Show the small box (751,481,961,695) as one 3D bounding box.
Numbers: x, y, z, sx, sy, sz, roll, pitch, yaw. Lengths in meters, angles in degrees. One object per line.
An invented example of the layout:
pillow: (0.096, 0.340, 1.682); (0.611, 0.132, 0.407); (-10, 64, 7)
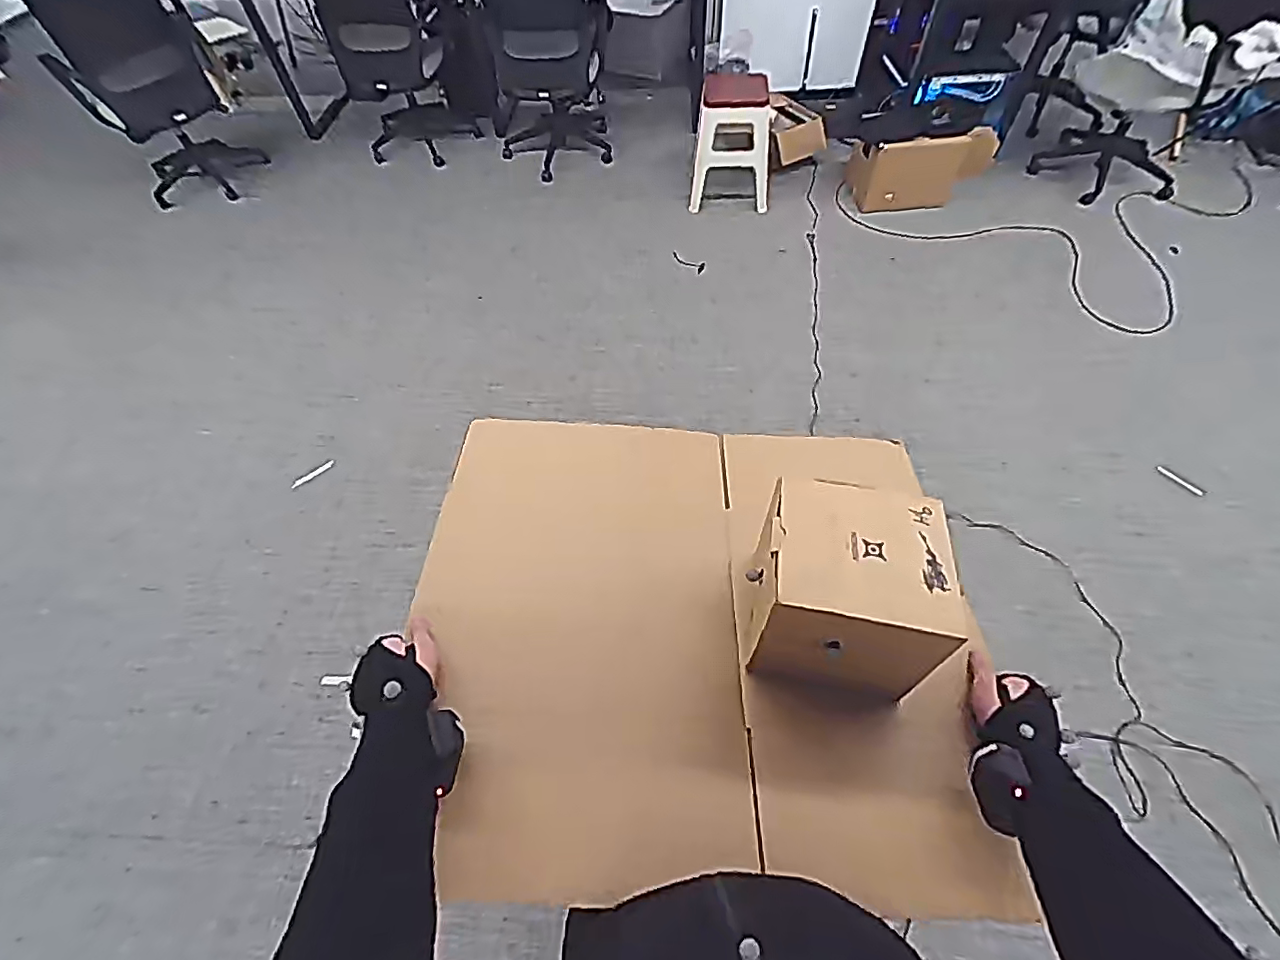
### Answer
small box: (0.228, 0.126, 0.618); (0.179, 0.176, 0.168); (9, 50, 8)
